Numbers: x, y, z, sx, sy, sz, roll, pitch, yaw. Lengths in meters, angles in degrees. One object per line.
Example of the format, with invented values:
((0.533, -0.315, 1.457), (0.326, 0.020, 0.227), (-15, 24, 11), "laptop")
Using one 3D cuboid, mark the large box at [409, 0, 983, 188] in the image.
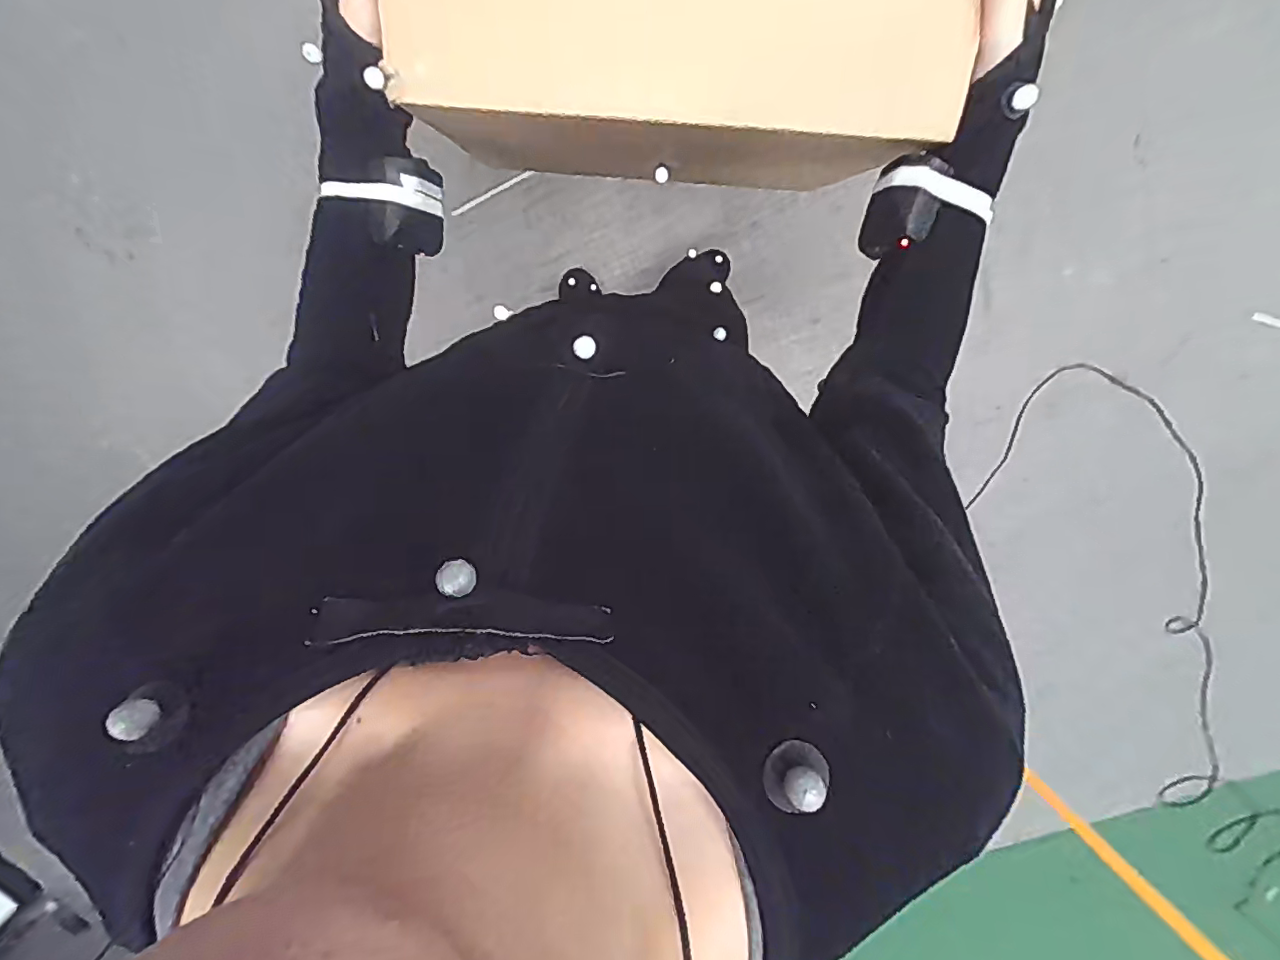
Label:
((0.043, -0.455, 0.480), (0.408, 0.320, 0.320), (3, 112, -3), "large box")
